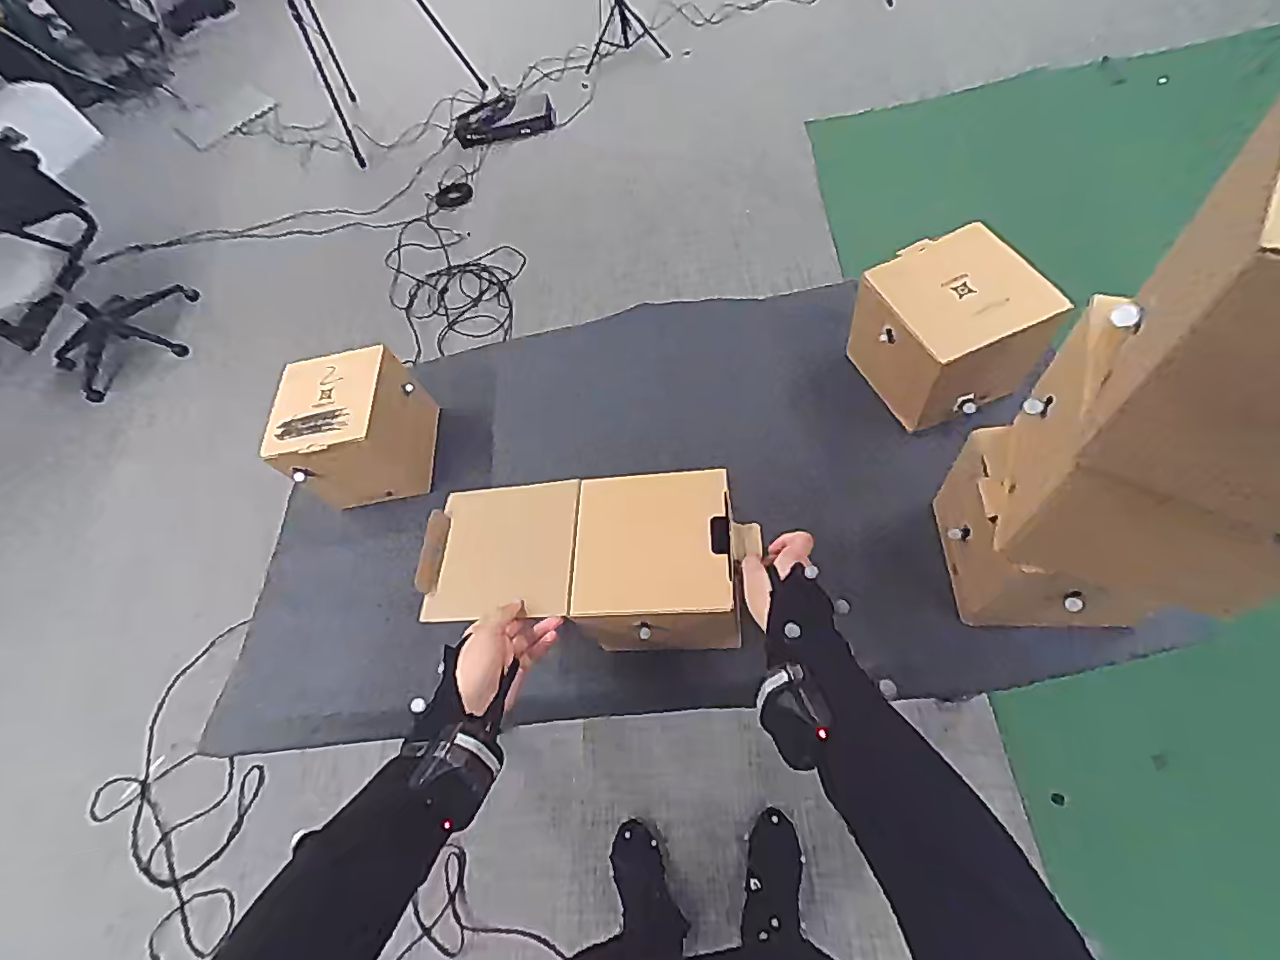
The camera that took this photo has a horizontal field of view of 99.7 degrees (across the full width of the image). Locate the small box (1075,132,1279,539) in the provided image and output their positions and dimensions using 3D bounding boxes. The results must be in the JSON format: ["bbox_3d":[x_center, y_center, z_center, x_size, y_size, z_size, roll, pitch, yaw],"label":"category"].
[{"bbox_3d":[0.386,-0.075,0.283,0.179,0.176,0.168,27,68,26],"label":"small box"}]

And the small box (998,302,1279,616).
[{"bbox_3d":[0.419,-0.012,0.433,0.179,0.176,0.168,17,64,21],"label":"small box"}]

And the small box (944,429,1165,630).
[{"bbox_3d":[0.447,0.057,0.579,0.179,0.176,0.168,-3,59,12],"label":"small box"}]

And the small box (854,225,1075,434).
[{"bbox_3d":[0.411,-0.194,0.727,0.168,0.176,0.179,-25,61,2],"label":"small box"}]

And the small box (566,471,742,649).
[{"bbox_3d":[0.026,0.105,0.651,0.179,0.176,0.168,-4,62,11],"label":"small box"}]
